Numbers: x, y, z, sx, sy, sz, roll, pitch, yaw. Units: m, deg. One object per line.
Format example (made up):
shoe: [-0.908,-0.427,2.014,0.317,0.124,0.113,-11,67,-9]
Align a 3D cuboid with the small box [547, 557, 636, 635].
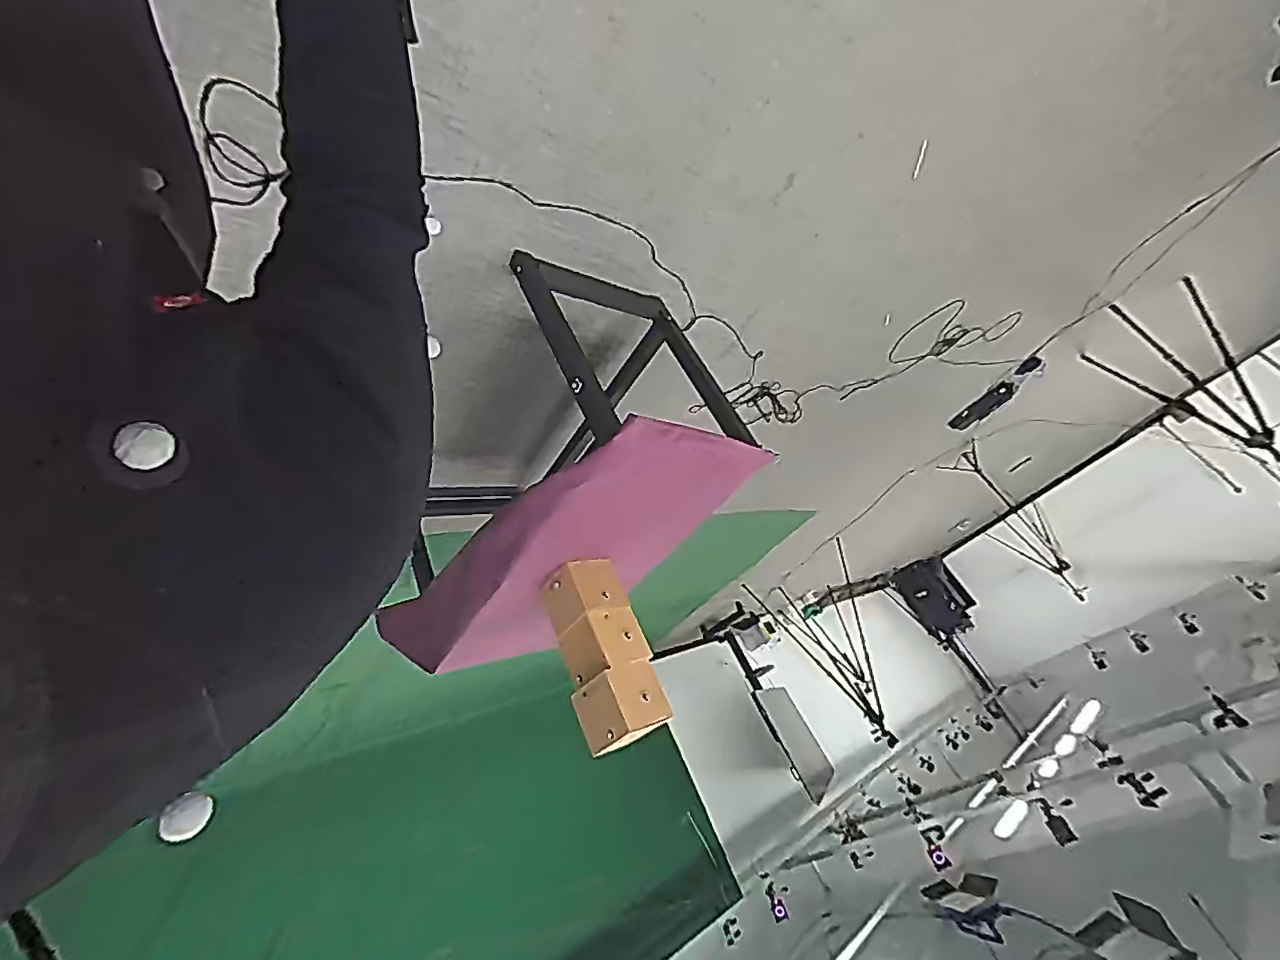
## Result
small box: [-0.151,0.342,1.632,0.179,0.176,0.168,5,138,-46]

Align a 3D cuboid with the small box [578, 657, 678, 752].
small box: [-0.035,0.602,1.471,0.179,0.176,0.168,4,138,-48]

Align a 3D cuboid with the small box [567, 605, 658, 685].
small box: [-0.086,0.473,1.563,0.168,0.176,0.179,3,140,-45]
